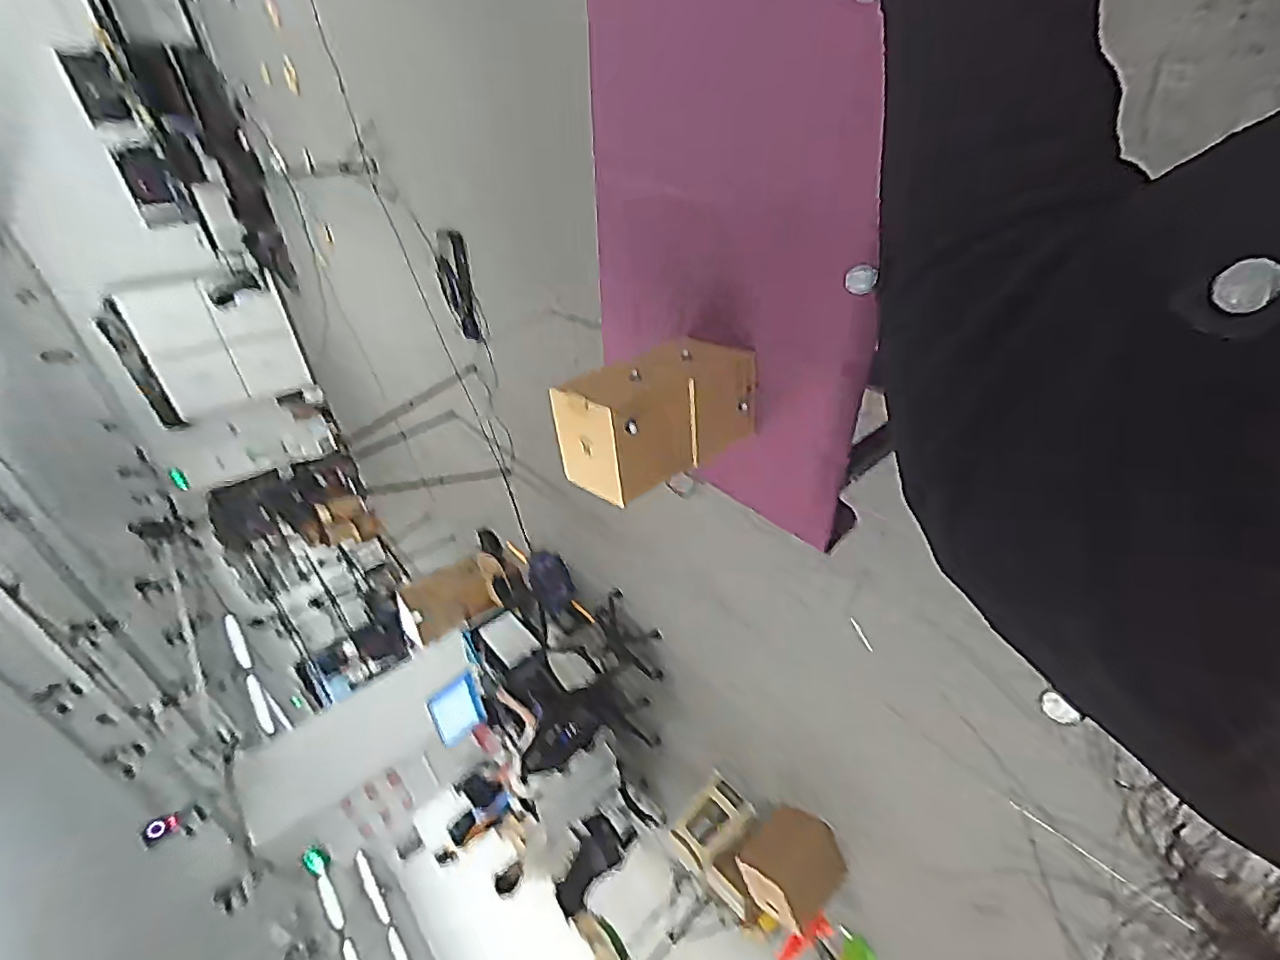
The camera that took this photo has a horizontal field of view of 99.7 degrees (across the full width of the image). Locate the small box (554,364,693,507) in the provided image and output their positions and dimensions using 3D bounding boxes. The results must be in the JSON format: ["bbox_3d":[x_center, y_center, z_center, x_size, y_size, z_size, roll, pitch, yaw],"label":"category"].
[{"bbox_3d":[-0.022,-0.084,0.936,0.168,0.176,0.179,24,131,43],"label":"small box"}]
